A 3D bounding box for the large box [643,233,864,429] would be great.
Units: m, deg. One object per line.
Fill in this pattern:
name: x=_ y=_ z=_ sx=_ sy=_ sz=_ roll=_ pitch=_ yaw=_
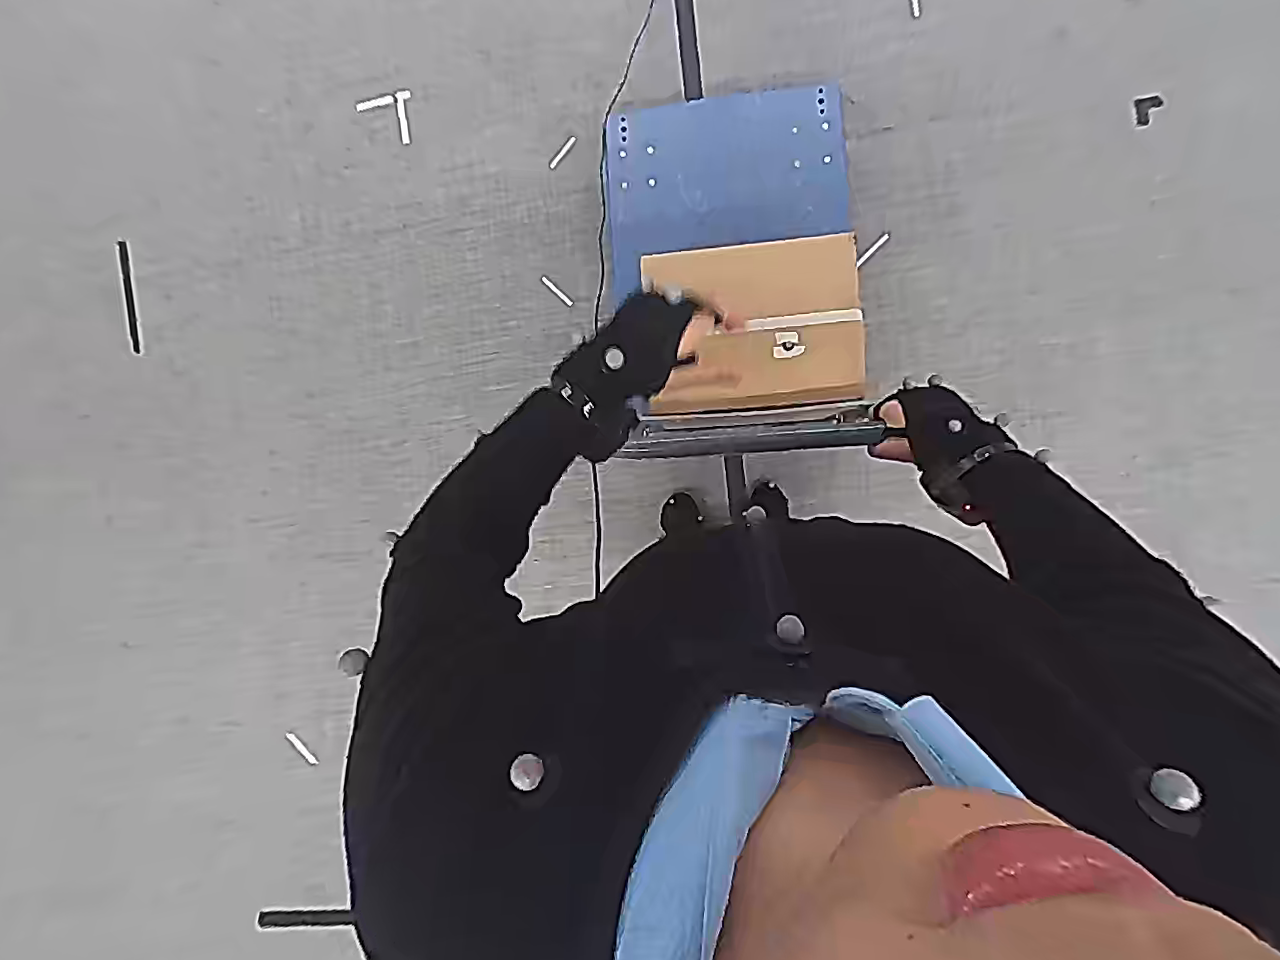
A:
large box: x=0.229 y=-0.297 z=1.186 sx=0.408 sy=0.320 sz=0.320 roll=-4 pitch=90 yaw=6
